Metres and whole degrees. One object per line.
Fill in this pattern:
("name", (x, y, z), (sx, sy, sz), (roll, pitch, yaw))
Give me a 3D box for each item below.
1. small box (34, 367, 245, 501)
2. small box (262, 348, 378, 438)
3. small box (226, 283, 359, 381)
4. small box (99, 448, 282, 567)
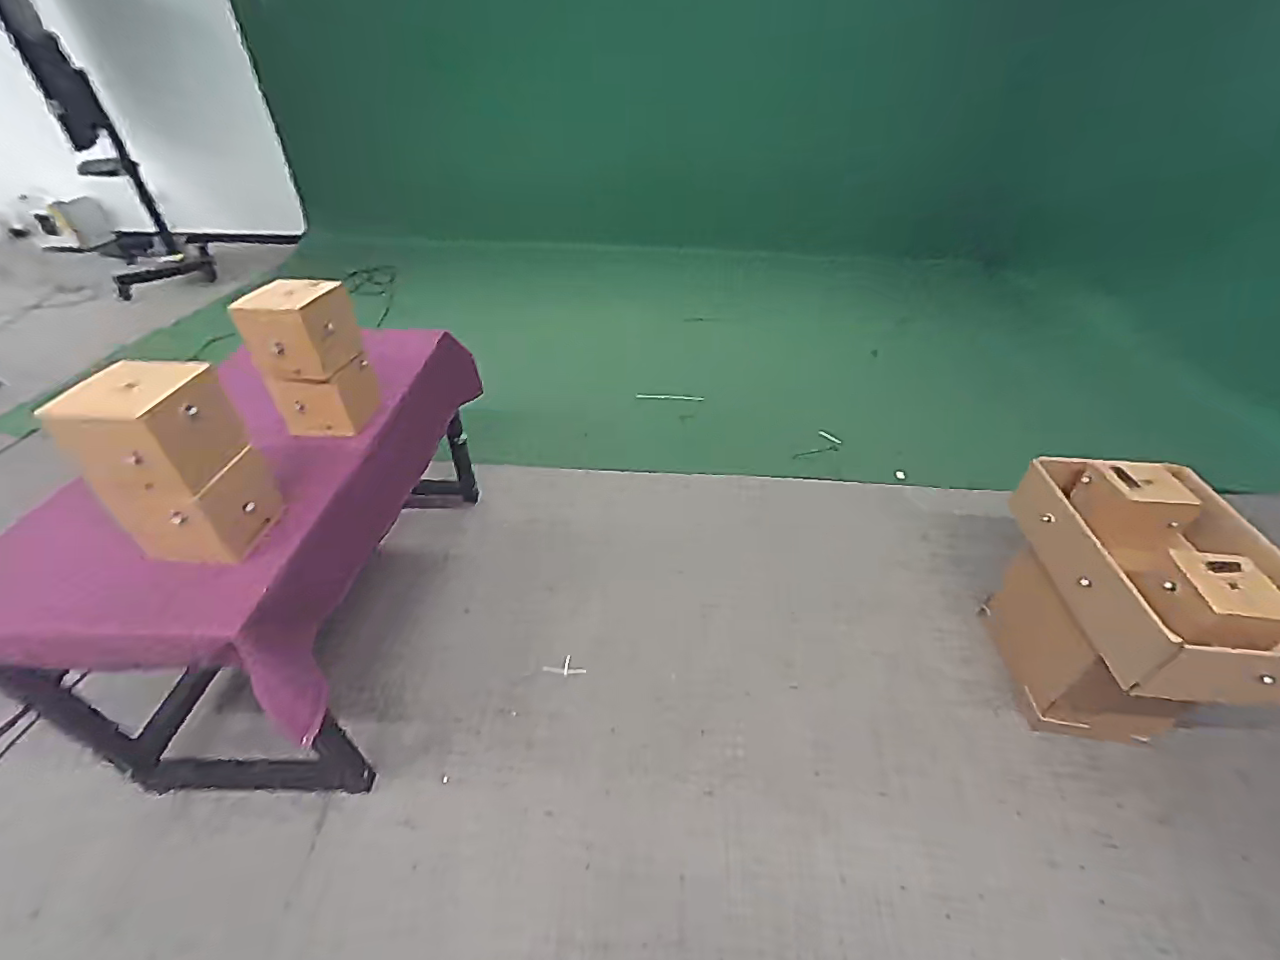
("small box", (-0.834, -0.079, 0.929), (0.168, 0.176, 0.179), (2, 39, 1))
("small box", (-0.788, -0.218, 1.358), (0.168, 0.176, 0.179), (1, 39, 2))
("small box", (-0.785, -0.341, 1.248), (0.168, 0.176, 0.179), (4, 40, 5))
("small box", (-0.833, 0.051, 1.029), (0.179, 0.176, 0.168), (2, 39, 3))
